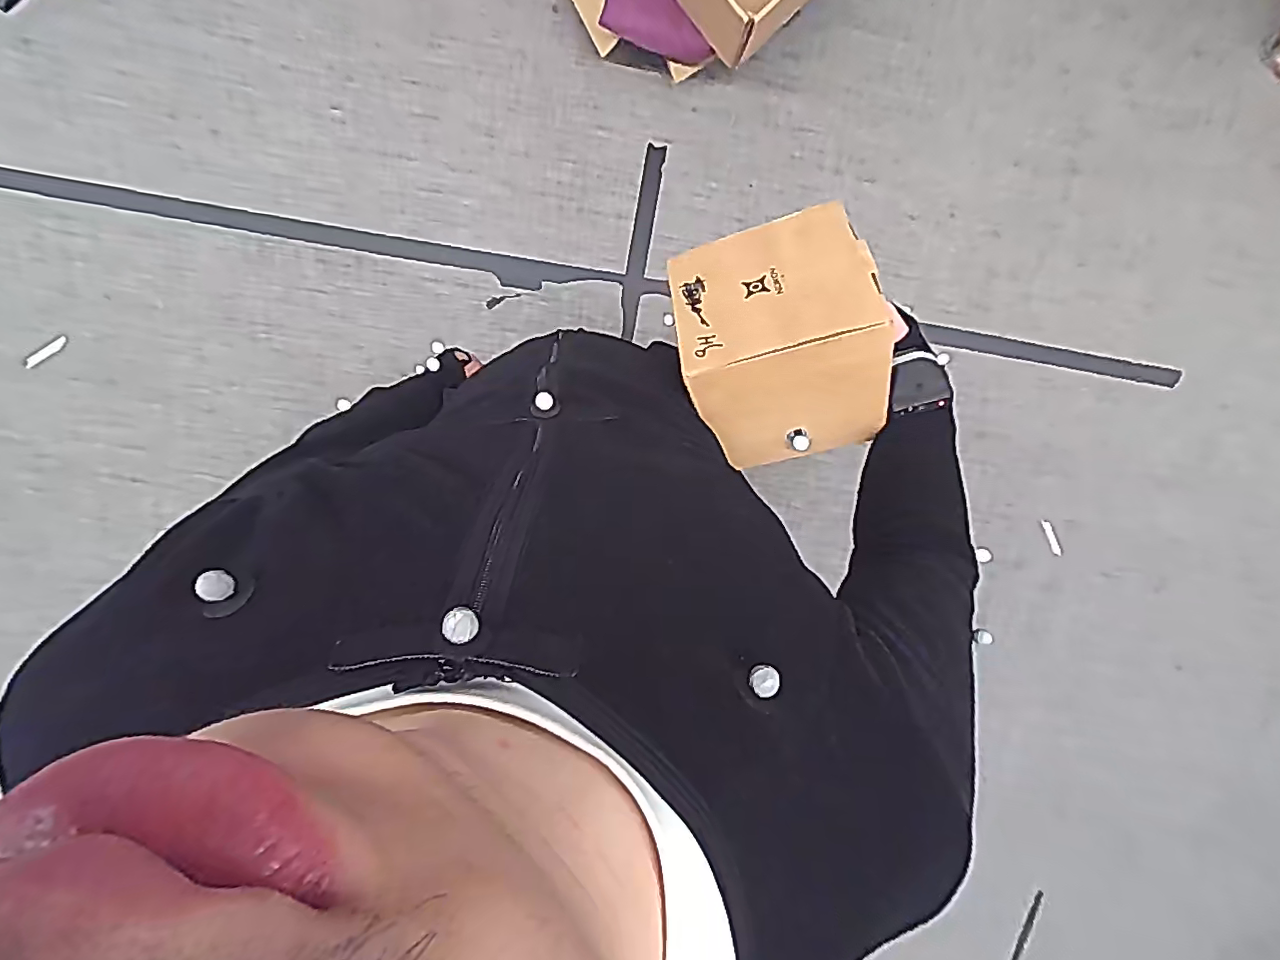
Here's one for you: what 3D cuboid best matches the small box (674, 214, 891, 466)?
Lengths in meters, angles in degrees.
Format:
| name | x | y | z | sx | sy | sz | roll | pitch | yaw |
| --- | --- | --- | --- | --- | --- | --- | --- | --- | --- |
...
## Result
| name | x | y | z | sx | sy | sz | roll | pitch | yaw |
| --- | --- | --- | --- | --- | --- | --- | --- | --- | --- |
| small box | 0.146 | -0.137 | 0.574 | 0.179 | 0.168 | 0.176 | -13 | 146 | 13 |
